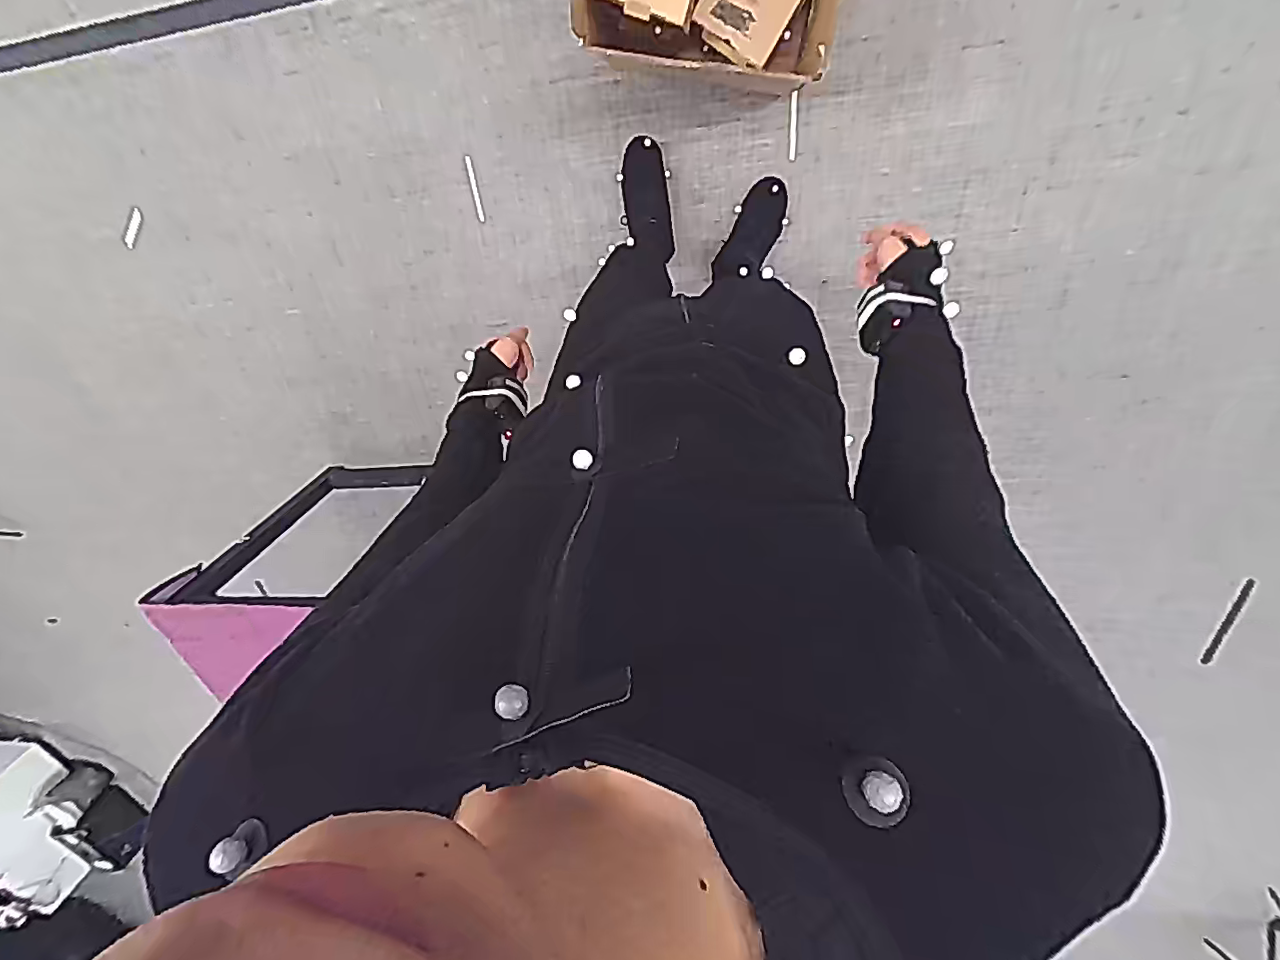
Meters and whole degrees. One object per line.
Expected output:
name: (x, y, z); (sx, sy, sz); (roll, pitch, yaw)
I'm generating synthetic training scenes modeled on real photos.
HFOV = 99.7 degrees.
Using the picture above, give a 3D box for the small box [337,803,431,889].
small box: (-0.799, 1.147, 1.703); (0.179, 0.176, 0.168); (-5, 121, 13)
